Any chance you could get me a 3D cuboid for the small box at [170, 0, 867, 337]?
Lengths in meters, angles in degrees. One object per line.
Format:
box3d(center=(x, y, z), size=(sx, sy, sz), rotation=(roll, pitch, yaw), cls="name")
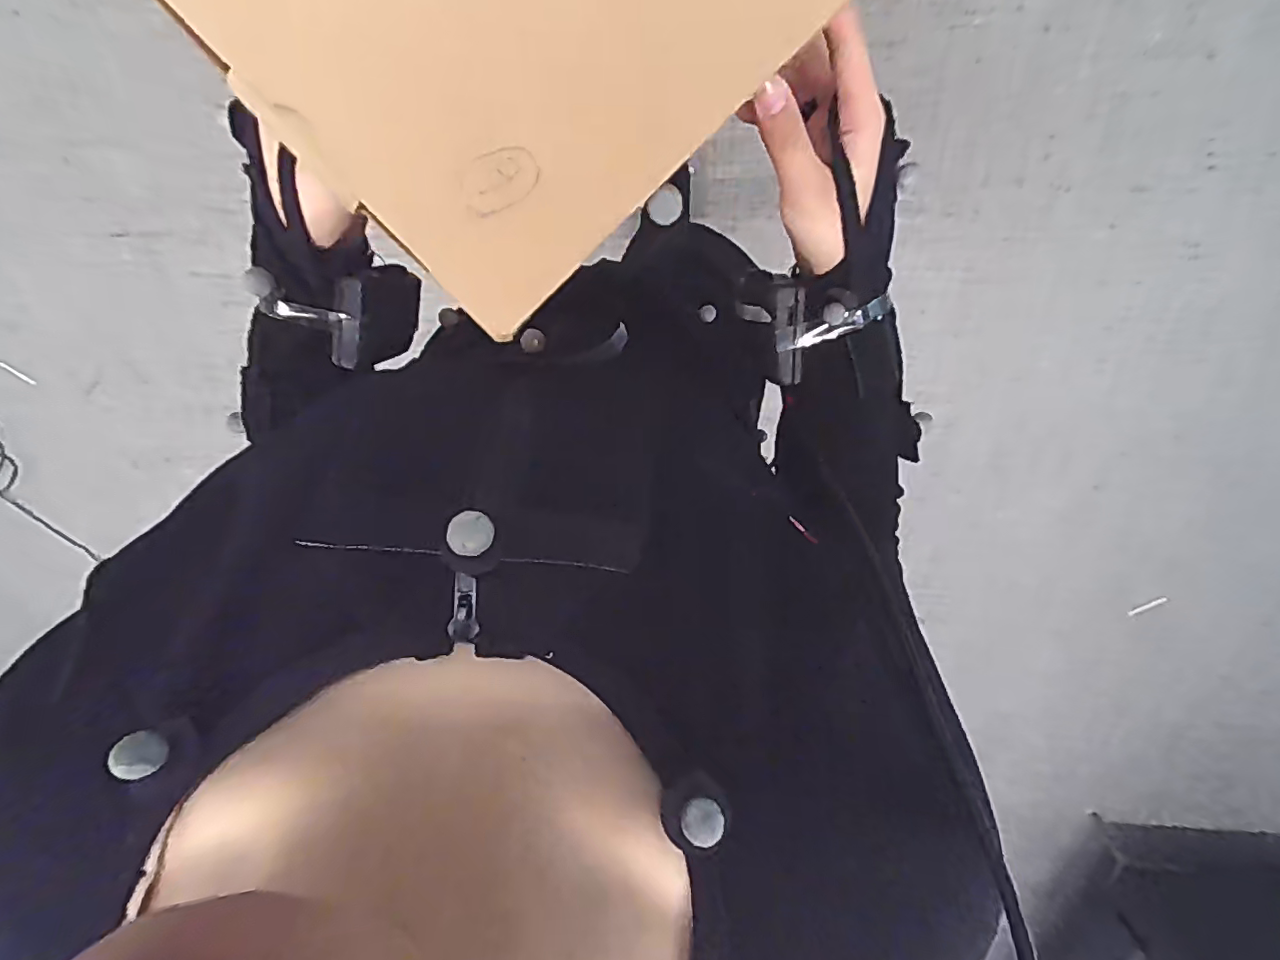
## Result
box3d(center=(-0.031, -0.188, 0.205), size=(0.179, 0.176, 0.168), rotation=(-37, 111, 21), cls="small box")
